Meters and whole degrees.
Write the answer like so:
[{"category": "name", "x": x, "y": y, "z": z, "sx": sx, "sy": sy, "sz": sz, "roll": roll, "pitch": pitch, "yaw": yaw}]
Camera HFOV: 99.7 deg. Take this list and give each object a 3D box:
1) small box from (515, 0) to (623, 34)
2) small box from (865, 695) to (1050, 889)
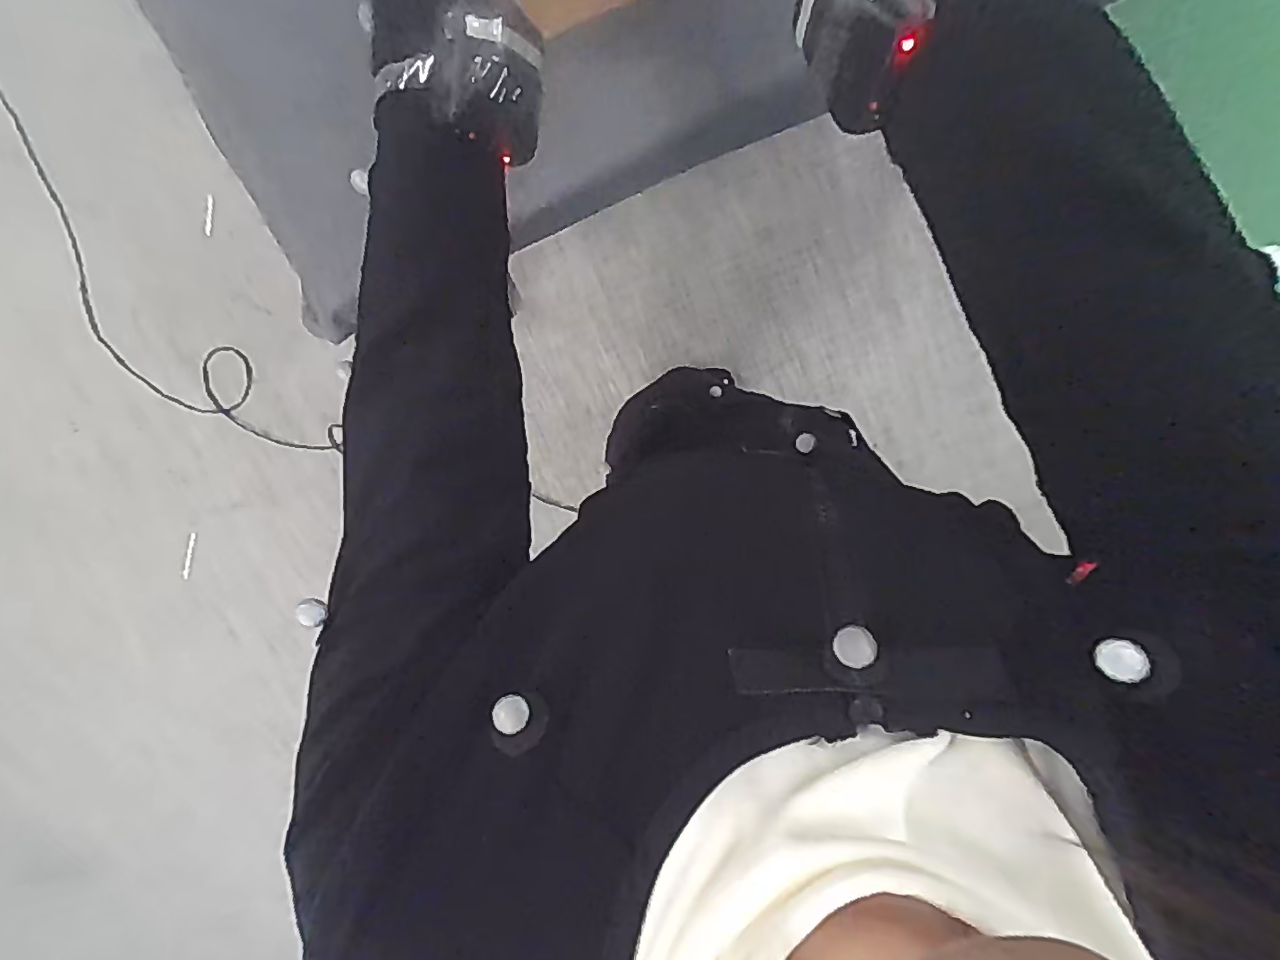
[{"category": "small box", "x": -0.067, "y": -0.557, "z": 0.482, "sx": 0.179, "sy": 0.176, "sz": 0.168, "roll": -20, "pitch": 102, "yaw": 6}, {"category": "small box", "x": 0.479, "y": 0.478, "z": 0.849, "sx": 0.179, "sy": 0.176, "sz": 0.168, "roll": -26, "pitch": 102, "yaw": 6}]
